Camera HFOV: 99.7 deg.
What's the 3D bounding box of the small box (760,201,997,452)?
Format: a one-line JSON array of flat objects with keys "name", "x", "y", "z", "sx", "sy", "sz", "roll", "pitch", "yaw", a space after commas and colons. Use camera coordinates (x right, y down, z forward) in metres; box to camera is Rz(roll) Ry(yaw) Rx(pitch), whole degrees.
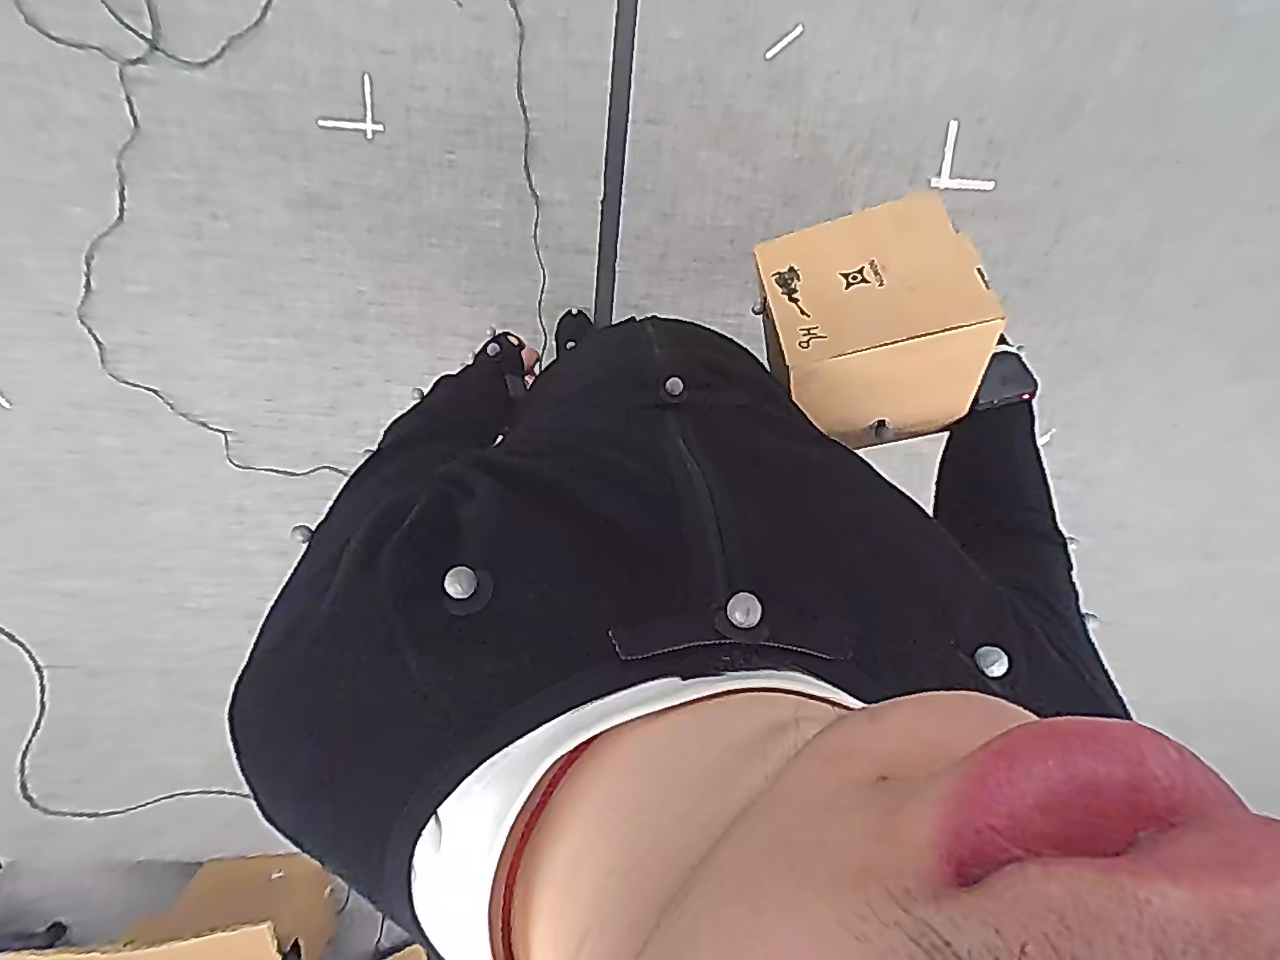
[{"name": "small box", "x": 0.233, "y": -0.151, "z": 0.577, "sx": 0.179, "sy": 0.168, "sz": 0.176, "roll": -12, "pitch": 149, "yaw": 12}]
